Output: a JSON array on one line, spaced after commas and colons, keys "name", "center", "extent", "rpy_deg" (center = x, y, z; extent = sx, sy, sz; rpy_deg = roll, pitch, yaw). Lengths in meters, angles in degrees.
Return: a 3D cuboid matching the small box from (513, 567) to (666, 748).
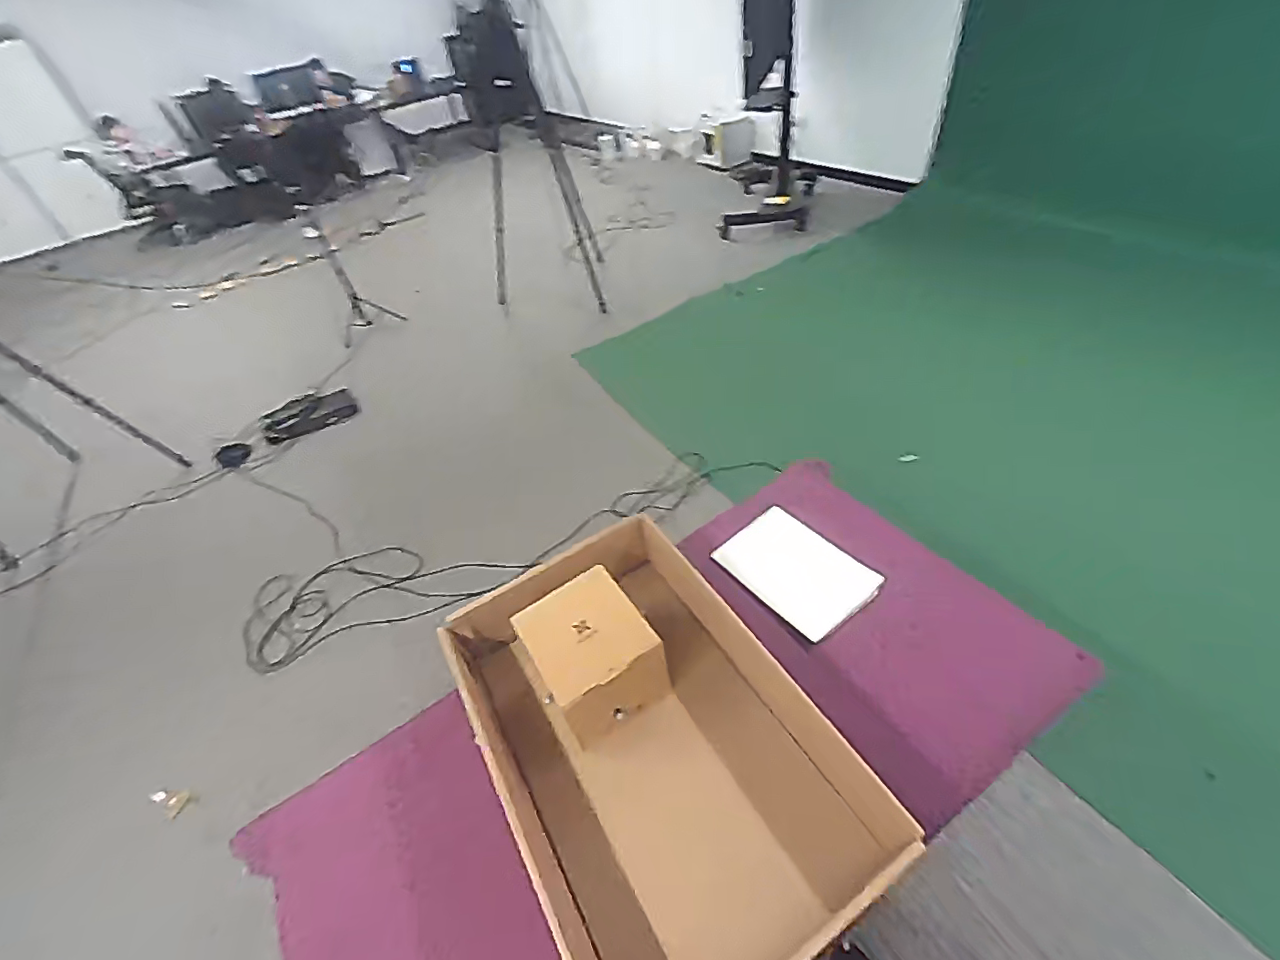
[{"name": "small box", "center": [-0.075, 0.280, 0.853], "extent": [0.168, 0.176, 0.179], "rpy_deg": [-30, 48, -19]}]
